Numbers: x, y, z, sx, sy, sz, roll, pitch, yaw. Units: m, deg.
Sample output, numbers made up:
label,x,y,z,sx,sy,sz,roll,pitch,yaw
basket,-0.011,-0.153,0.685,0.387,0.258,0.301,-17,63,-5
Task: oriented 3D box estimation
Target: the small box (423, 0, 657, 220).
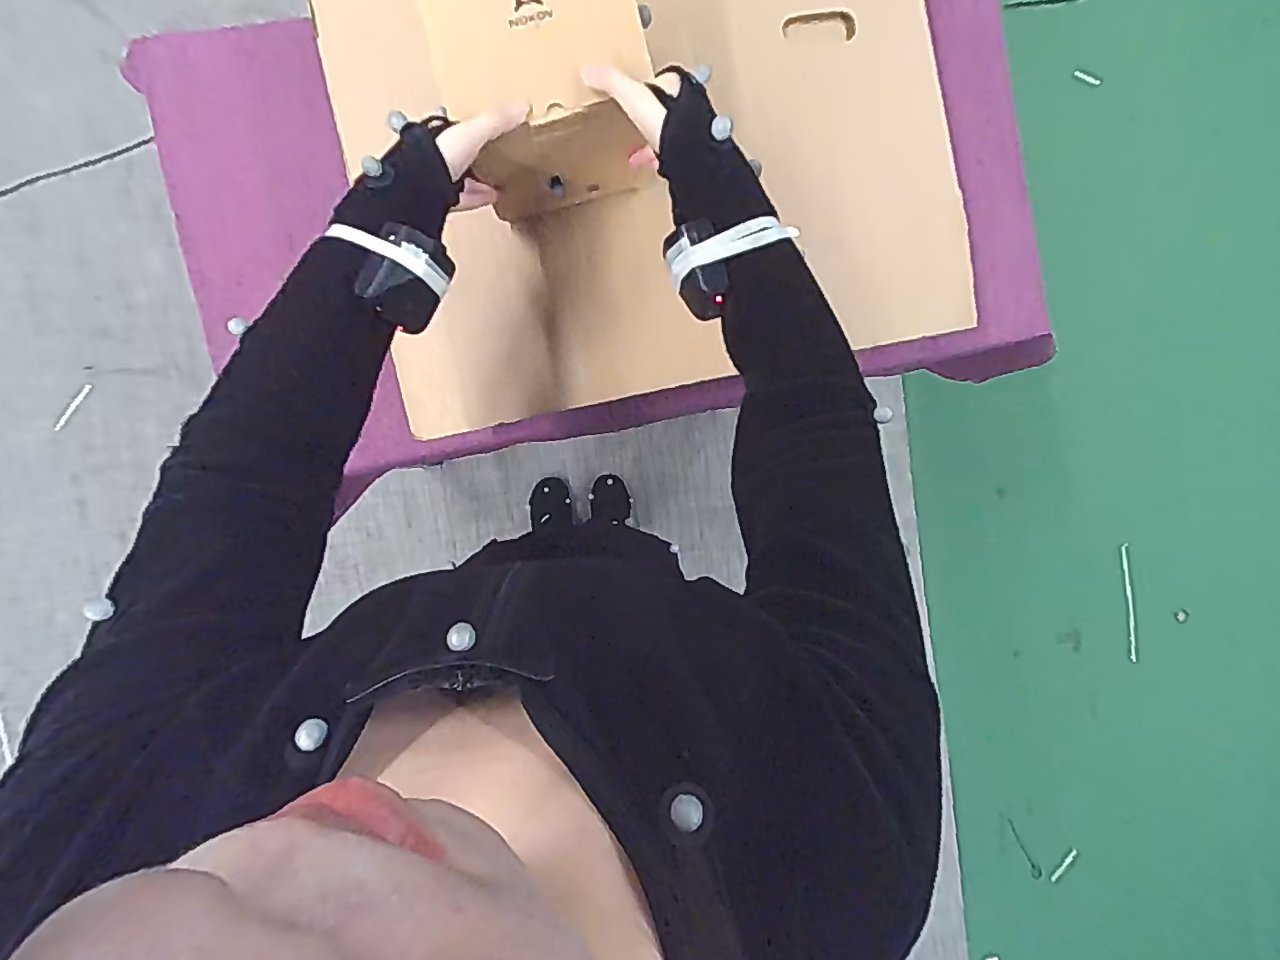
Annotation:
label,x,y,z,sx,sy,sz,roll,pitch,yaw
small box,-0.088,-0.377,0.504,0.168,0.176,0.179,-15,97,0
